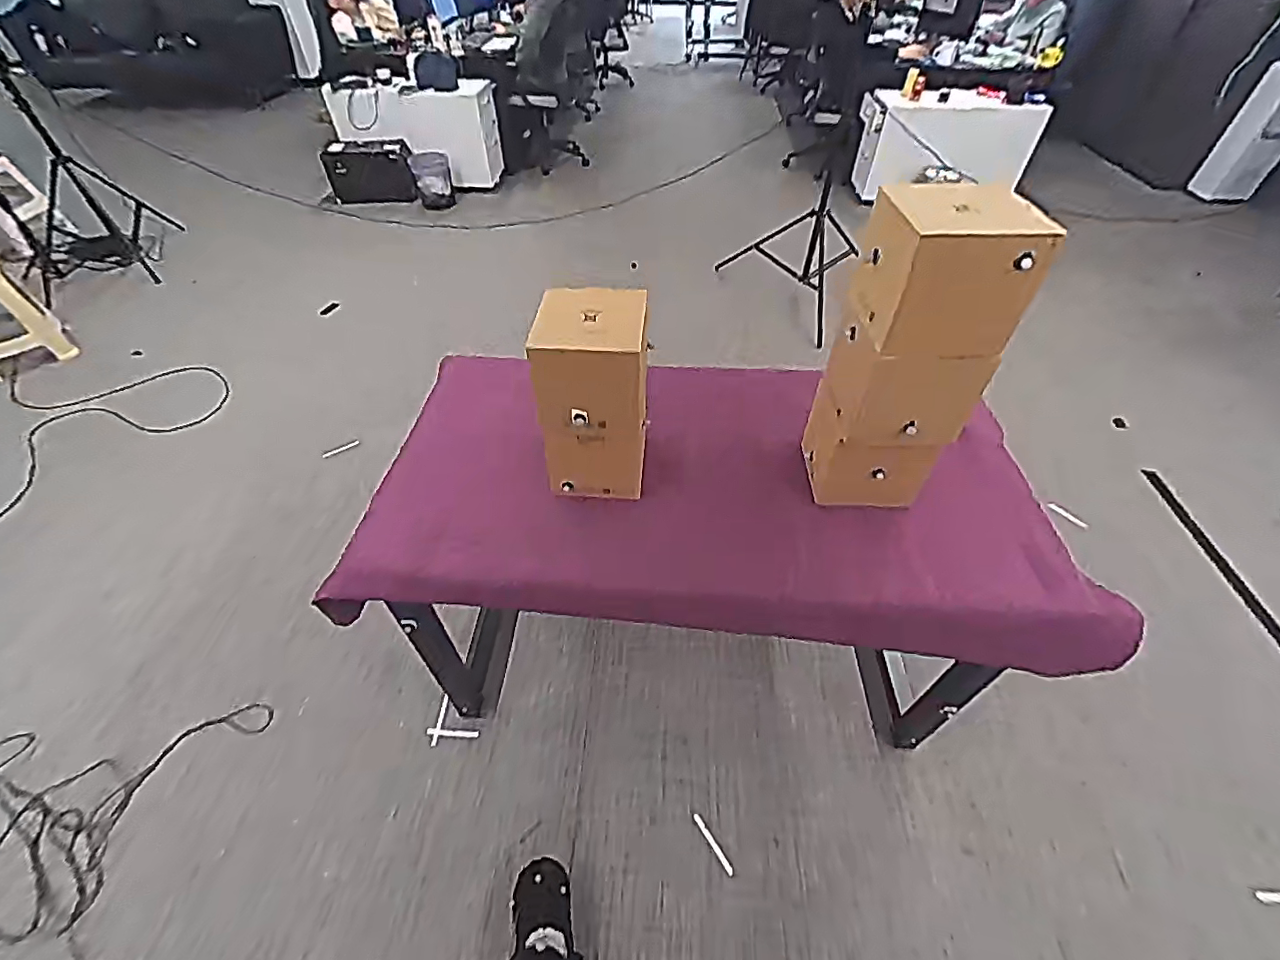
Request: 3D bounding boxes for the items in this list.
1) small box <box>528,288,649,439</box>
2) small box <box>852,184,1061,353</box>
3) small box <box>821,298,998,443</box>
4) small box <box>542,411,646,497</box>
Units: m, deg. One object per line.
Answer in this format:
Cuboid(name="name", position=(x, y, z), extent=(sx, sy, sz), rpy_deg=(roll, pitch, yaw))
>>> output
Cuboid(name="small box", position=(-0.073, -0.188, 0.872), extent=(0.168, 0.176, 0.179), rpy_deg=(2, 48, 2))
Cuboid(name="small box", position=(0.410, -0.288, 0.745), extent=(0.179, 0.176, 0.168), rpy_deg=(-1, 47, 0))
Cuboid(name="small box", position=(0.410, -0.171, 0.858), extent=(0.179, 0.176, 0.168), rpy_deg=(-1, 46, -1))
Cuboid(name="small box", position=(-0.076, -0.086, 0.999), extent=(0.168, 0.176, 0.179), rpy_deg=(3, 46, 2))
